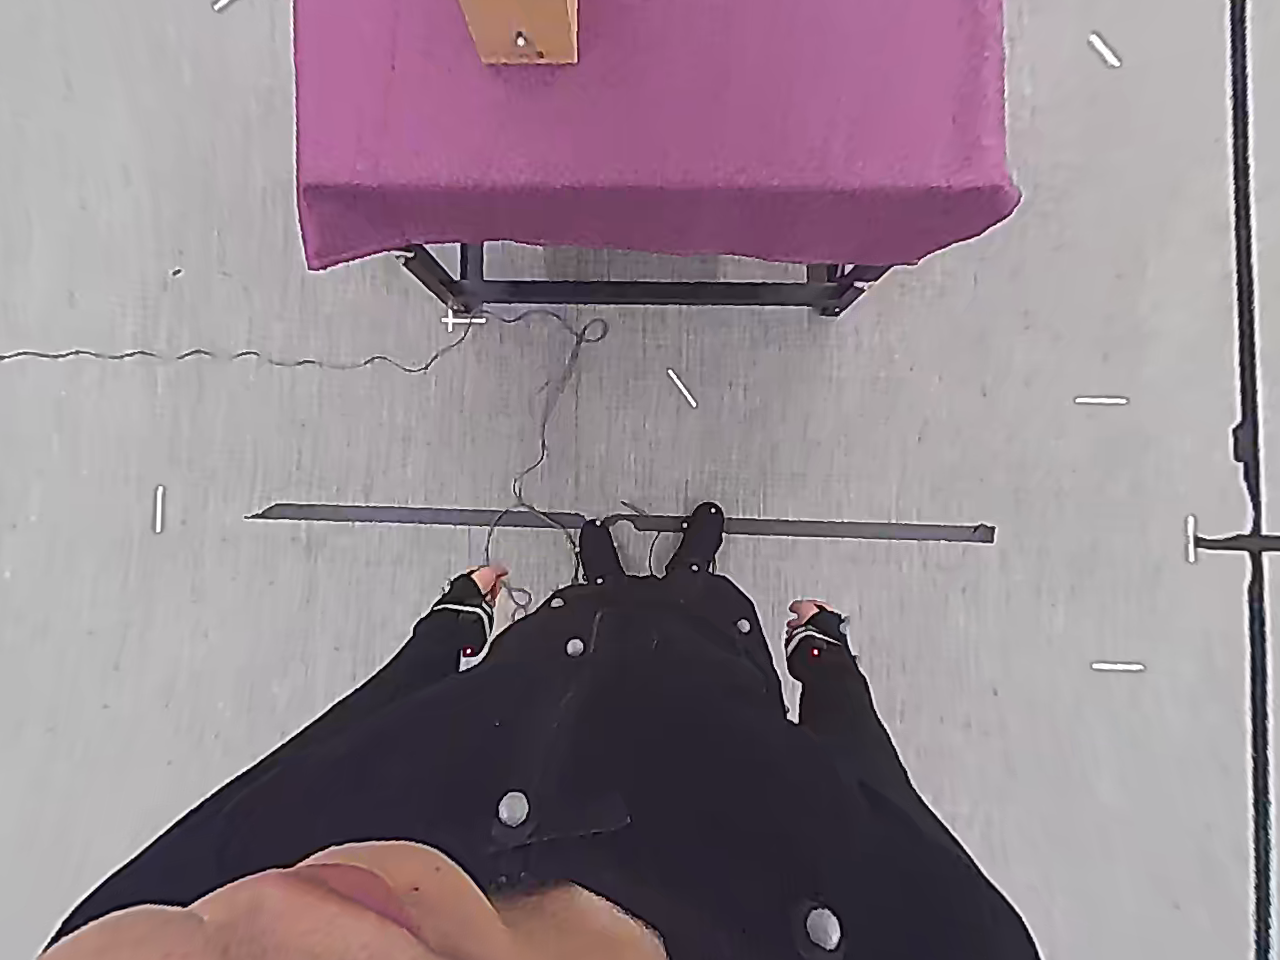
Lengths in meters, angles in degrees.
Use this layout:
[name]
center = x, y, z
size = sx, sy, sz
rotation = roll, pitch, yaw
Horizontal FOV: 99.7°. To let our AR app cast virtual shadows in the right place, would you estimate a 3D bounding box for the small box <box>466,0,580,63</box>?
[small box]
center = -0.186, -0.805, 0.847
size = 0.168, 0.176, 0.179
rotation = 1, 89, 1
